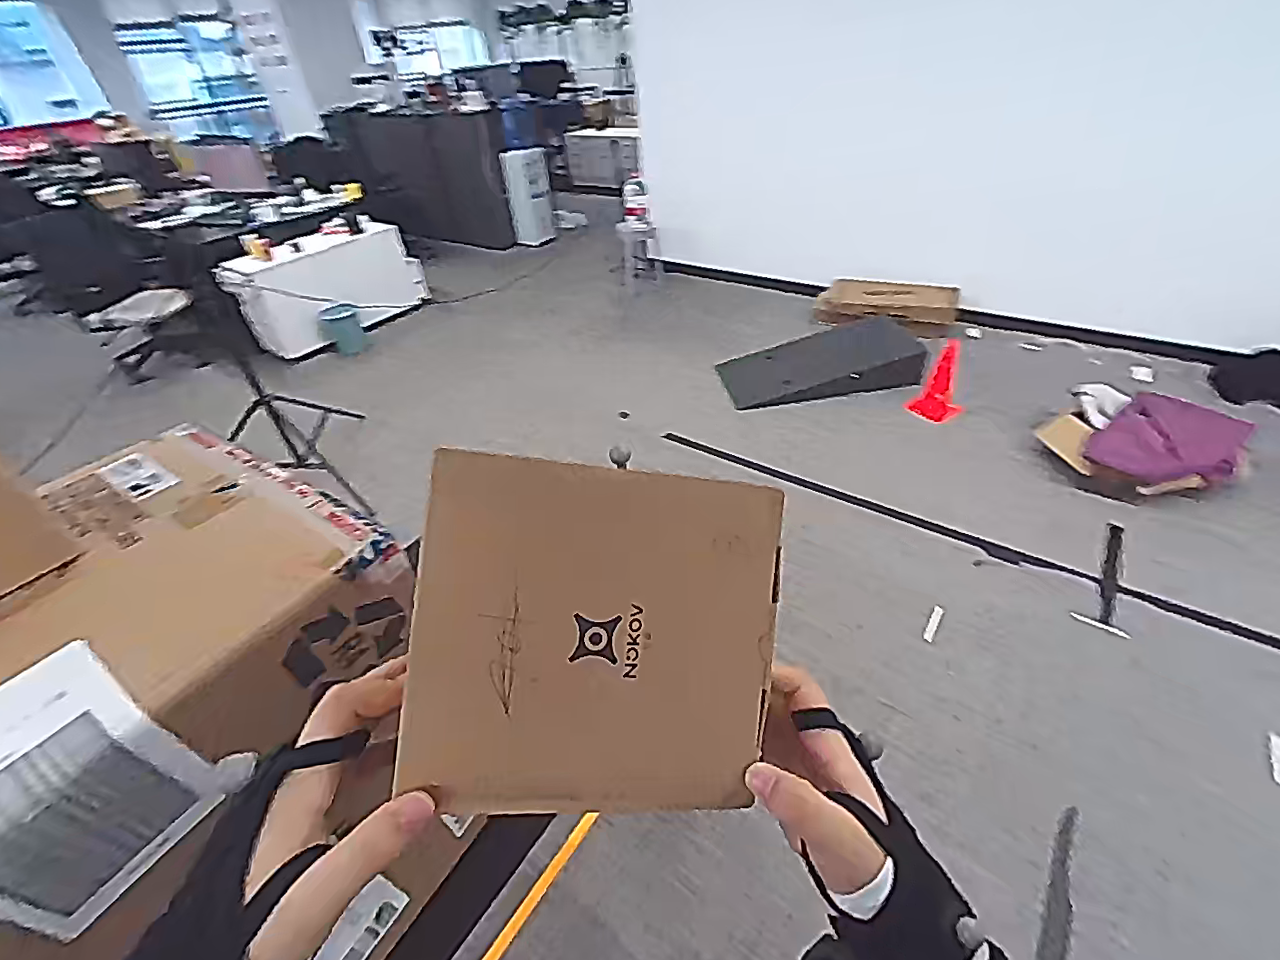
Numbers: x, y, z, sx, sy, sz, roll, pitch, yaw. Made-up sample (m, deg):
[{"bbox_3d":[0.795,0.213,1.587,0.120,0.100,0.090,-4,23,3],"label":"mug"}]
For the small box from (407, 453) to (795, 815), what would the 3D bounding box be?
[{"bbox_3d":[-0.027,0.079,0.339,0.179,0.168,0.176,6,-4,-10],"label":"small box"}]

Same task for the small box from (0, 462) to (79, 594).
[{"bbox_3d":[-0.577,0.021,0.380,0.168,0.176,0.179,17,43,28],"label":"small box"}]
